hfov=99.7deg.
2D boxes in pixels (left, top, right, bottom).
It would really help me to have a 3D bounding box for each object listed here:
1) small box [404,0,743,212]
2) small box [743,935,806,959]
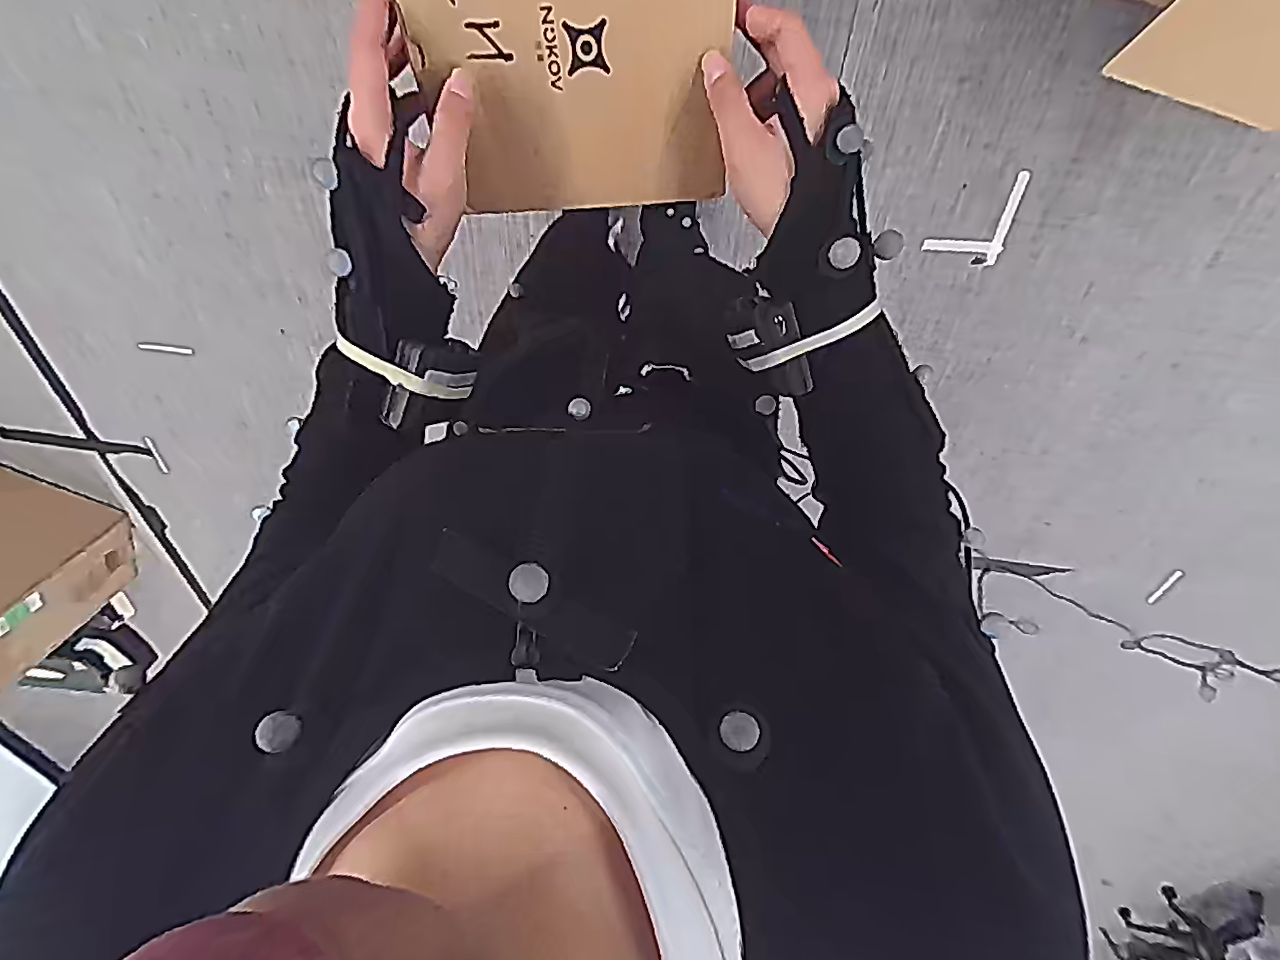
[{"bbox_3d":[-0.035,-0.292,0.343,0.179,0.176,0.168,-2,138,1],"label":"small box"},{"bbox_3d":[0.417,1.543,1.677,0.179,0.176,0.168,4,128,5],"label":"small box"}]
